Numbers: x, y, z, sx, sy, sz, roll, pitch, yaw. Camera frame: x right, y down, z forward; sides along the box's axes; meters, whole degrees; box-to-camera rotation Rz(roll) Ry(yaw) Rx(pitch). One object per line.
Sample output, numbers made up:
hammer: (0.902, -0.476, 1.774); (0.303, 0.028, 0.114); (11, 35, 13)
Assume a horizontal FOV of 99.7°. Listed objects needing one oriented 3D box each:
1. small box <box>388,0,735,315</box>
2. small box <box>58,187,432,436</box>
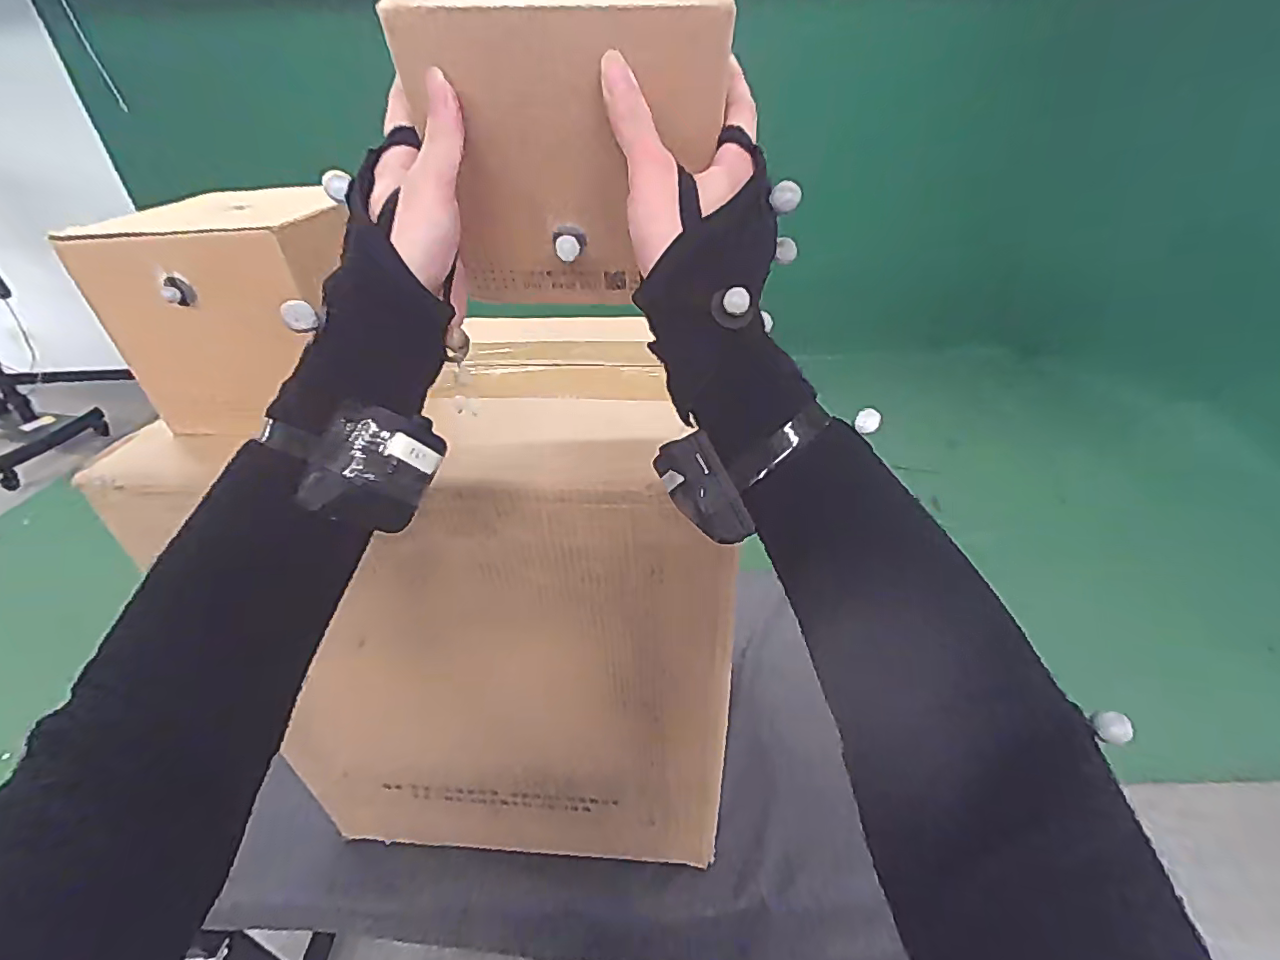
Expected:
small box: (-0.033, -0.235, 0.361); (0.168, 0.176, 0.179); (2, 57, 2)
small box: (-0.315, -0.151, 0.481); (0.179, 0.176, 0.168); (2, 38, 4)
